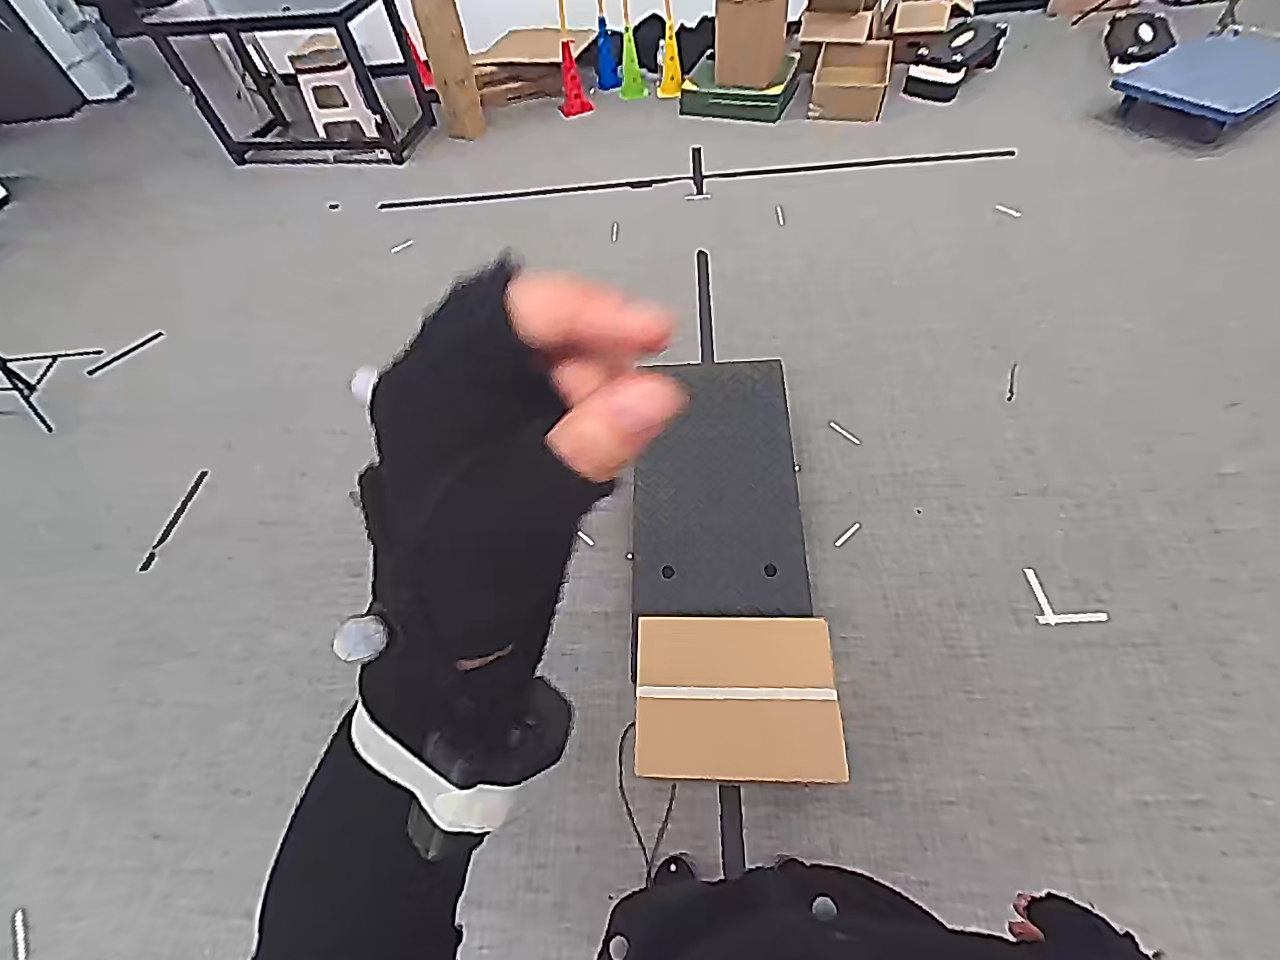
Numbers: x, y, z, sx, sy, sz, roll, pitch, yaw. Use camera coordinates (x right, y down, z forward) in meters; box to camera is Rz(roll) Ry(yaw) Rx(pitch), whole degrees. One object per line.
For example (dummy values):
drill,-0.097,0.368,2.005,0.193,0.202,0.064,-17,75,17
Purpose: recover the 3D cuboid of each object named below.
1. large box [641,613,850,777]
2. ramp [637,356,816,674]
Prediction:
large box,0.218,0.503,1.237,0.408,0.320,0.320,-2,59,6
ramp,0.235,0.055,1.621,0.509,0.206,0.991,-3,56,3
